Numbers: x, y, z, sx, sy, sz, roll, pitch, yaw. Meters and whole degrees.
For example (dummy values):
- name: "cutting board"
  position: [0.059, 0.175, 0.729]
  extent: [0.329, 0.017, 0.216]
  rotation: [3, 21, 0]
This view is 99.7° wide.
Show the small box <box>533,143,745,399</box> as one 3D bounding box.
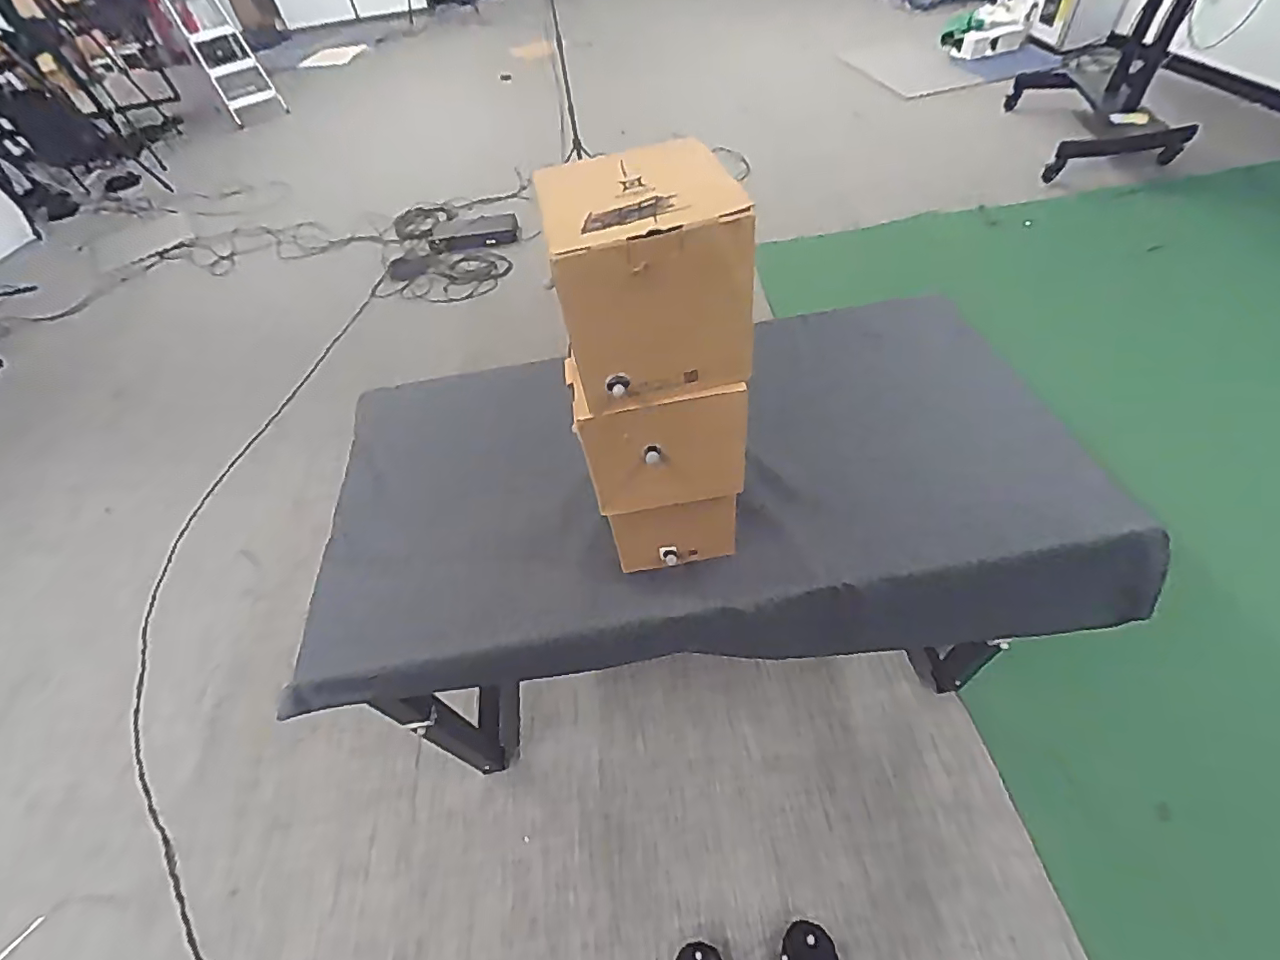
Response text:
- name: "small box"
  position: [0.001, -0.197, 0.534]
  extent: [0.168, 0.176, 0.179]
  rotation: [-13, 49, -2]

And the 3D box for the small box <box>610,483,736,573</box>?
- name: "small box"
  position: [0.036, 0.009, 0.788]
  extent: [0.168, 0.176, 0.179]
  rotation: [-12, 51, 0]

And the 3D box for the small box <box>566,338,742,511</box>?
- name: "small box"
  position: [0.018, -0.082, 0.655]
  extent: [0.179, 0.176, 0.168]
  rotation: [-12, 48, -2]
